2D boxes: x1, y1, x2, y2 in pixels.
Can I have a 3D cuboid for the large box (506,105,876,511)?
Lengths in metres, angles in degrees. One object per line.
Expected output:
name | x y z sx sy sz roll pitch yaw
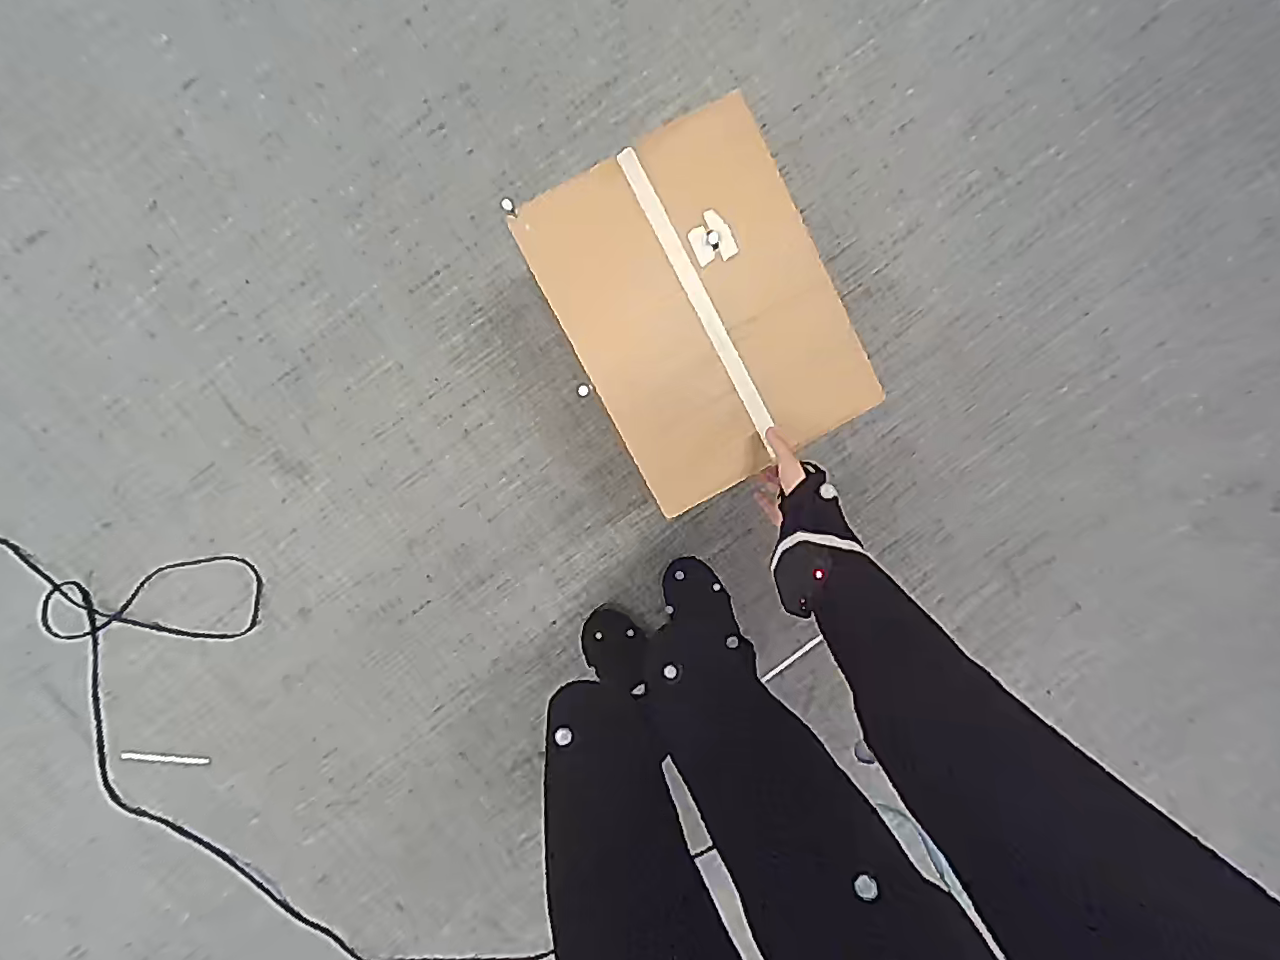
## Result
large box | 0.063 -0.214 0.806 0.320 0.320 0.408 -29 95 -1
